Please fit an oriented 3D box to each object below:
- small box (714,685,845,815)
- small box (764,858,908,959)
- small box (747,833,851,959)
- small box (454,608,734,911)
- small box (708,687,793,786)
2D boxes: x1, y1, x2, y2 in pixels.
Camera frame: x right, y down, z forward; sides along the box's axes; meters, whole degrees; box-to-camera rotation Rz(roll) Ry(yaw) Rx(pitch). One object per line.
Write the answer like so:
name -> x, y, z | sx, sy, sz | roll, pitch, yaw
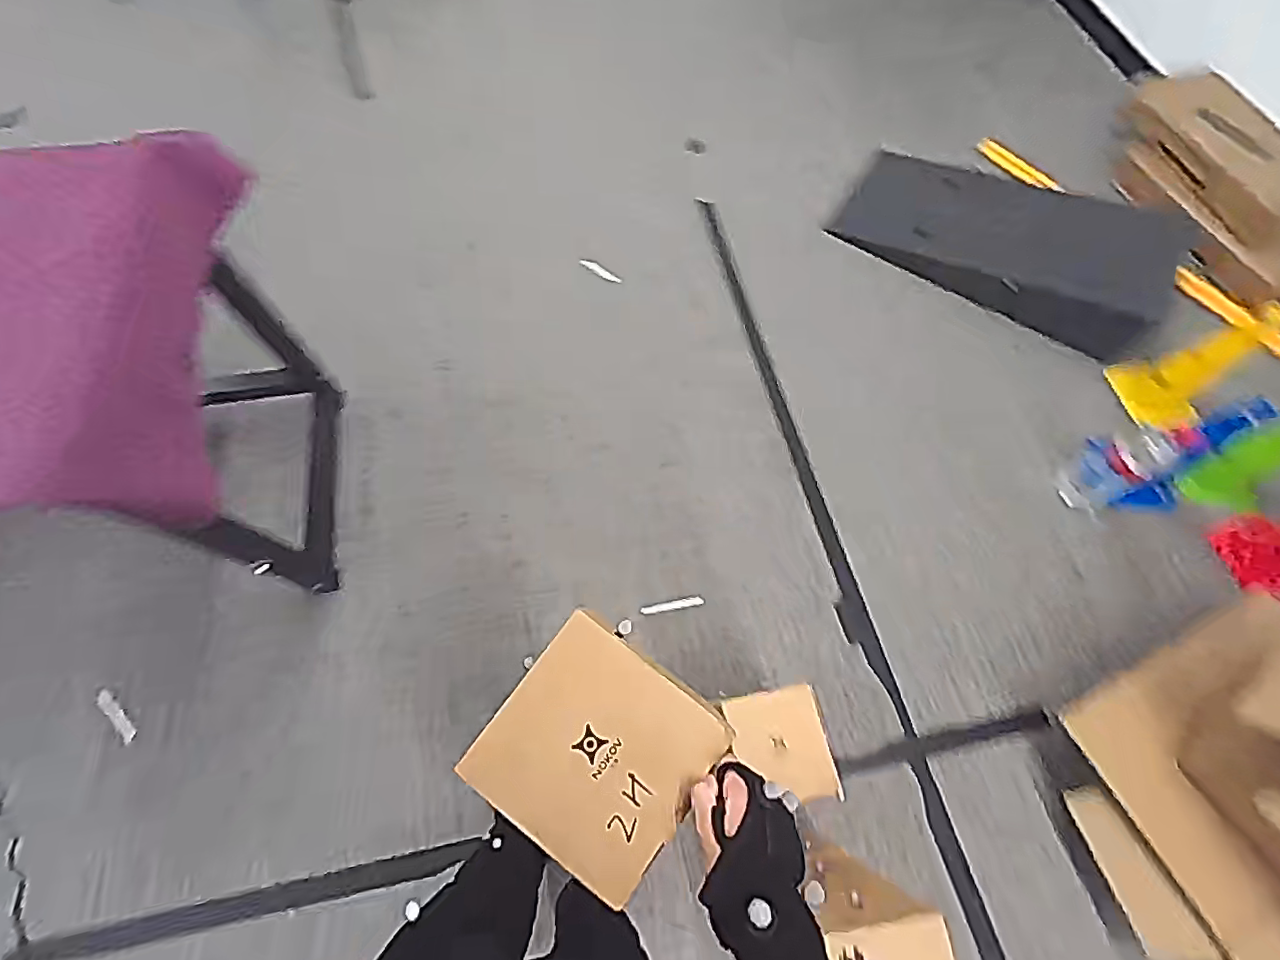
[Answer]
small box -> 0.243, 0.487, 0.994 | 0.168, 0.176, 0.179 | -10, 69, -6
small box -> 0.313, 0.746, 0.884 | 0.179, 0.176, 0.168 | -6, 68, -5
small box -> 0.313, 0.807, 1.038 | 0.168, 0.176, 0.179 | -5, 68, -4
small box -> -0.040, 0.244, 0.523 | 0.179, 0.176, 0.168 | 36, 77, 6
small box -> 0.244, 0.545, 1.146 | 0.179, 0.176, 0.168 | -10, 69, -7
